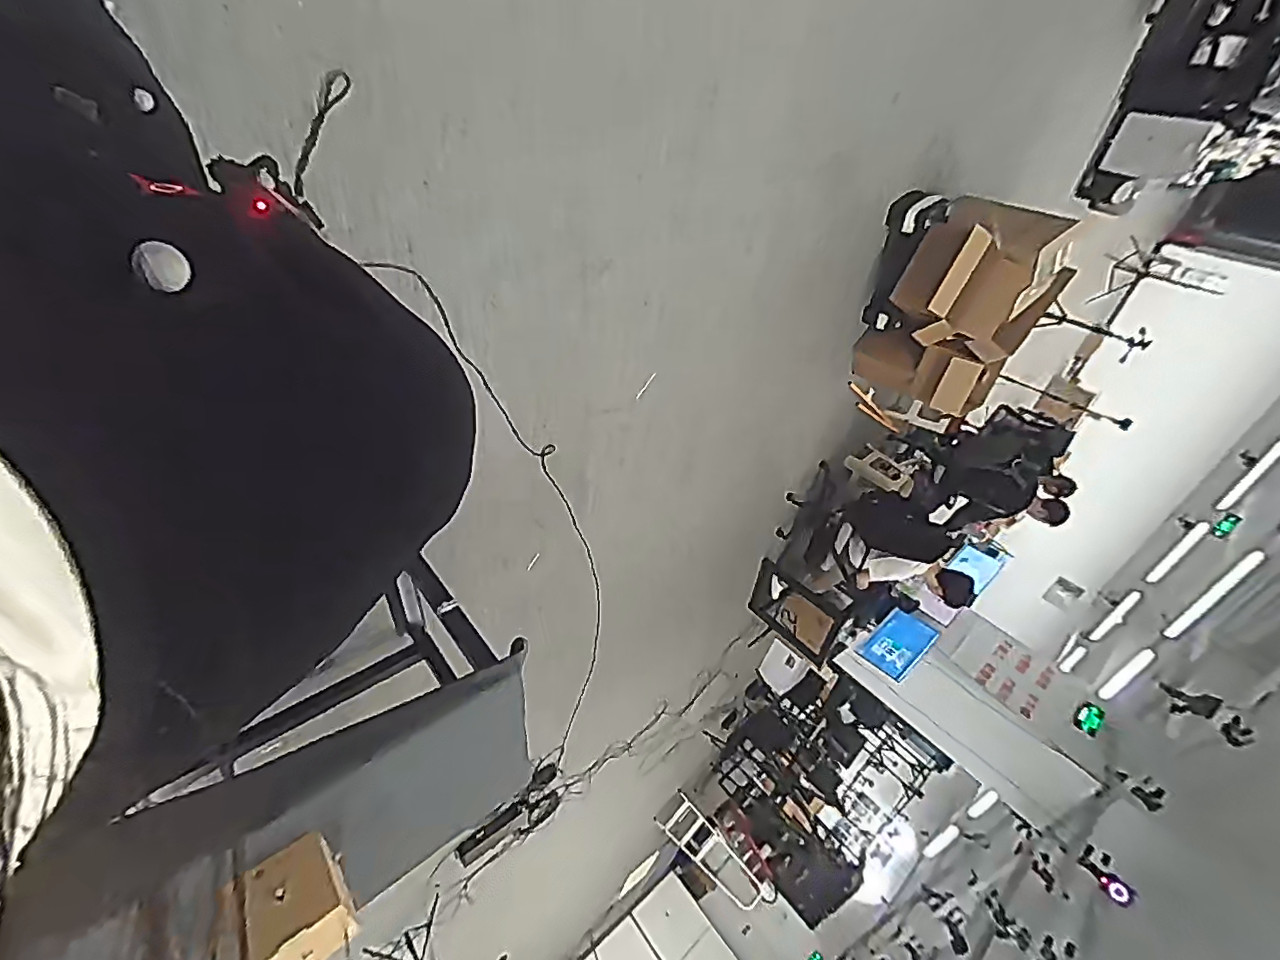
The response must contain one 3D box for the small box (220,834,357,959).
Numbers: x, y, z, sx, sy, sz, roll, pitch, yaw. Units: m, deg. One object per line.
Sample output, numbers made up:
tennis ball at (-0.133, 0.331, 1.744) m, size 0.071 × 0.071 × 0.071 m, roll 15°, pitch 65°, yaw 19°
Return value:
small box at (-0.686, 0.841, 1.059) m, size 0.168 × 0.176 × 0.179 m, roll -24°, pitch 137°, yaw -34°
